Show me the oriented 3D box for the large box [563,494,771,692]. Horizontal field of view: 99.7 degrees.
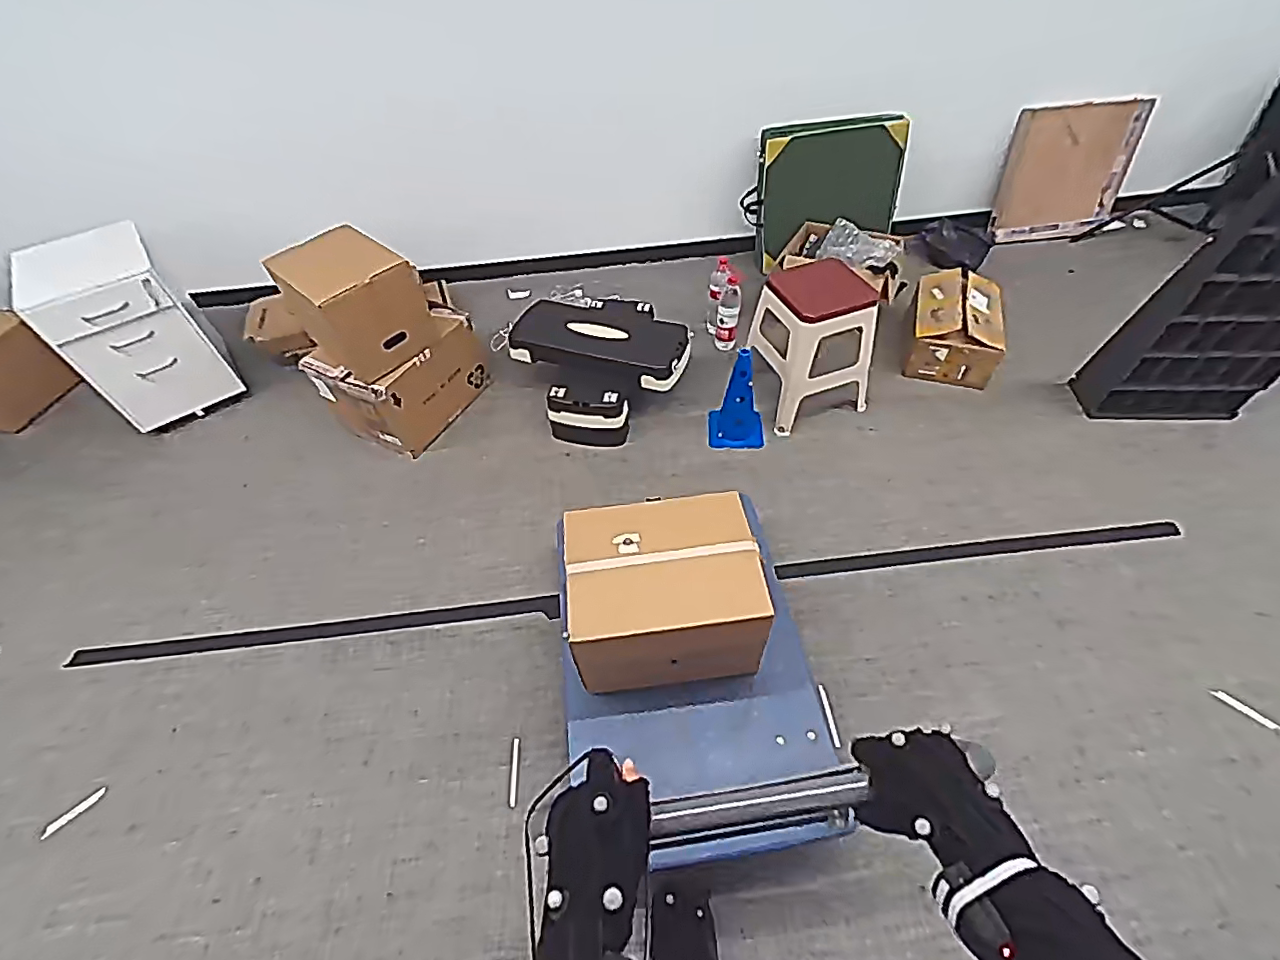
[{"bbox_3d":[0.052,0.269,1.255,0.408,0.320,0.320,-8,50,-2],"label":"large box"}]
